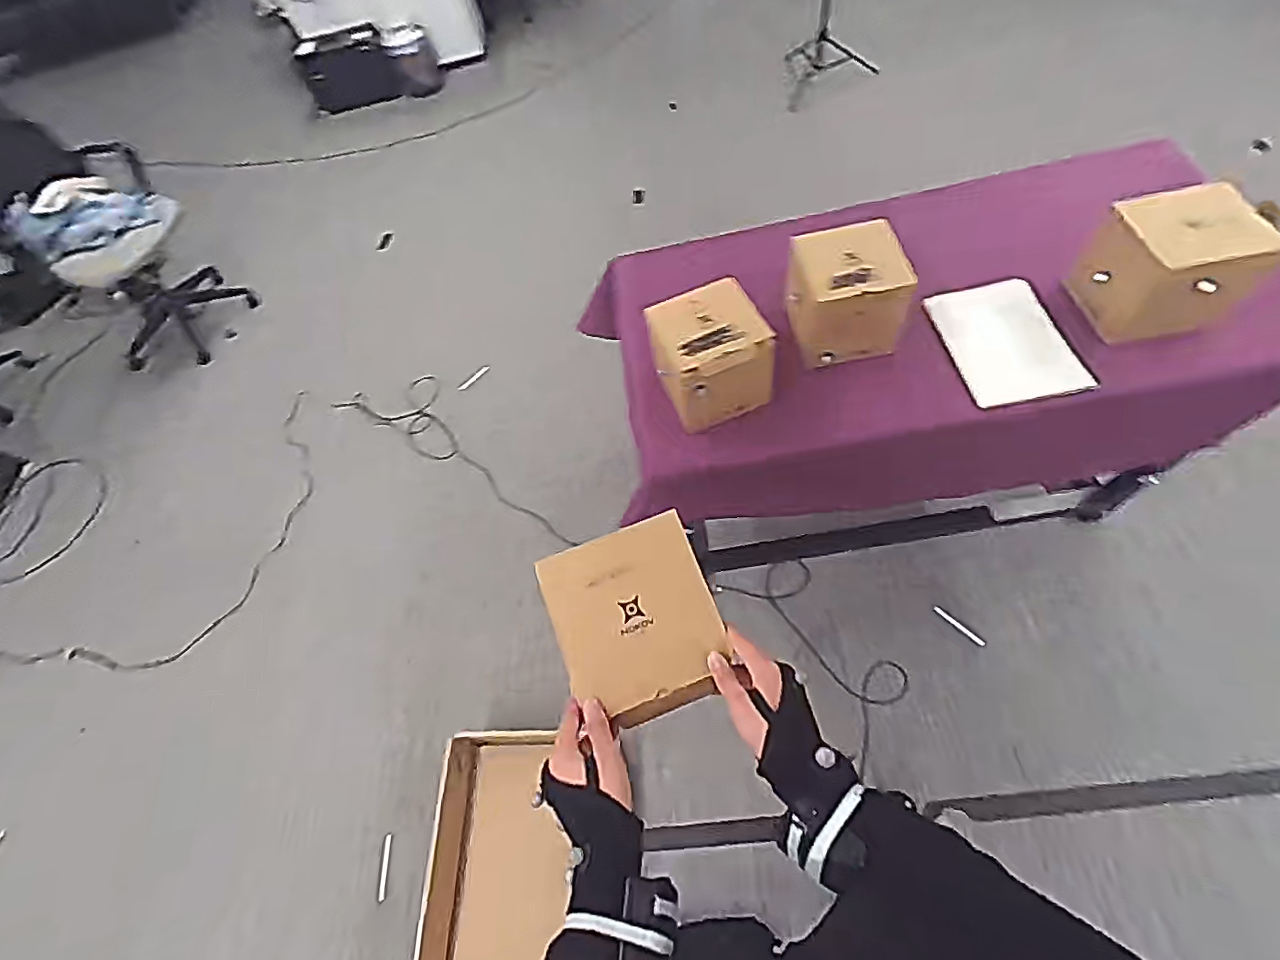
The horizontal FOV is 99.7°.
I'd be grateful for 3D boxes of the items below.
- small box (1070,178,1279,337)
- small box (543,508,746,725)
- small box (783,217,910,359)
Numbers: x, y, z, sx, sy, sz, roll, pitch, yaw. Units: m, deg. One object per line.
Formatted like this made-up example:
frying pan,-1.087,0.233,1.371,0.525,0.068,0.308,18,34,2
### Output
small box,0.872,-0.363,0.905,0.179,0.176,0.168,-9,61,6
small box,0.005,0.155,0.623,0.168,0.176,0.179,-20,73,-5
small box,0.366,-0.340,0.991,0.168,0.176,0.179,-10,60,5
